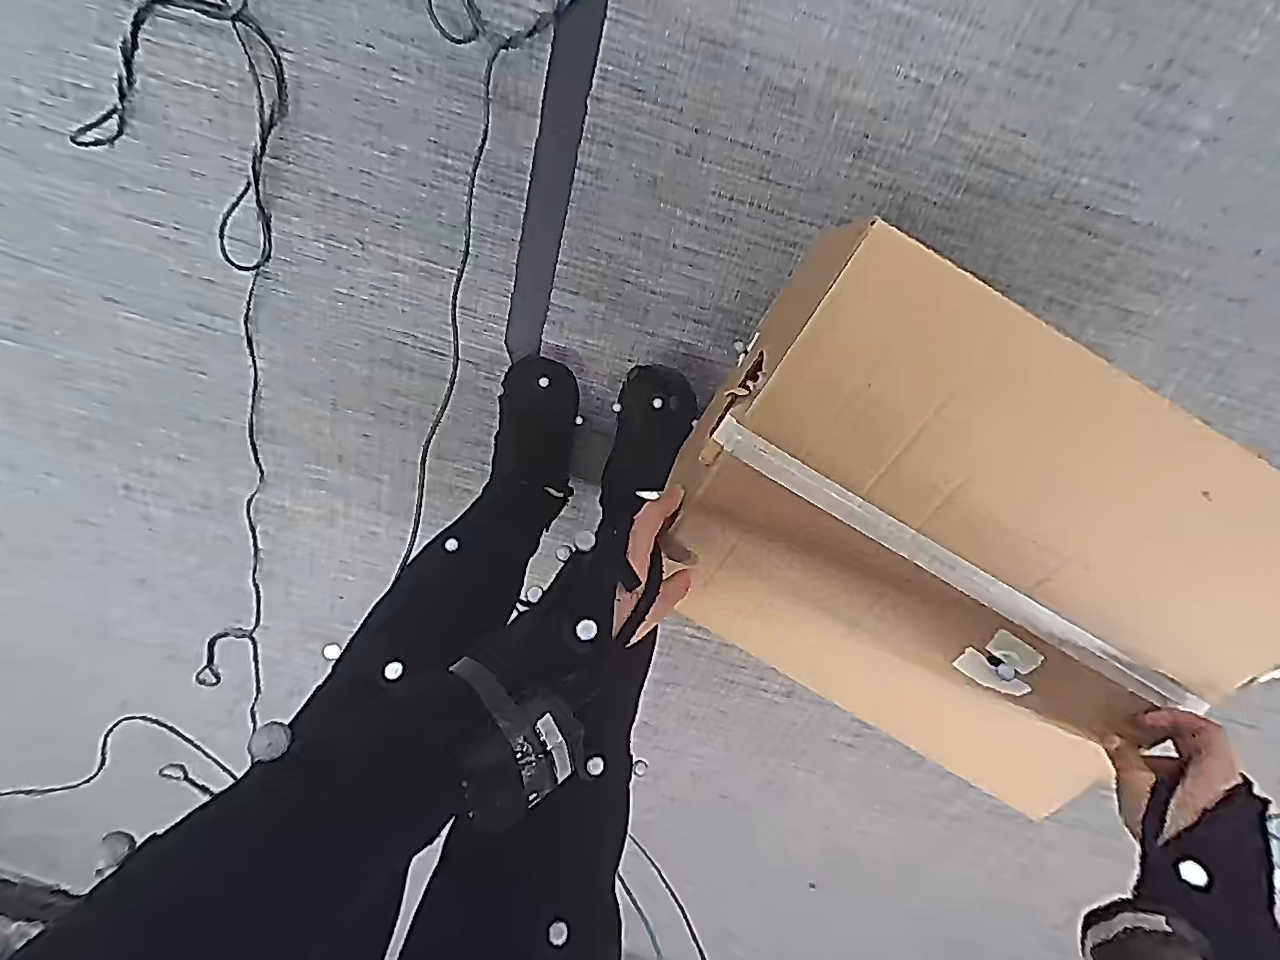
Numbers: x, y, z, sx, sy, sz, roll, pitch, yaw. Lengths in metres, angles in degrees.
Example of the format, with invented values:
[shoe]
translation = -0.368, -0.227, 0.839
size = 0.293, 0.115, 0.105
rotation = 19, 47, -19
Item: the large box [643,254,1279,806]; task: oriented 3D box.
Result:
[large box]
translation = 0.264, 0.015, 0.534
size = 0.408, 0.320, 0.320
rotation = 30, 116, -3
